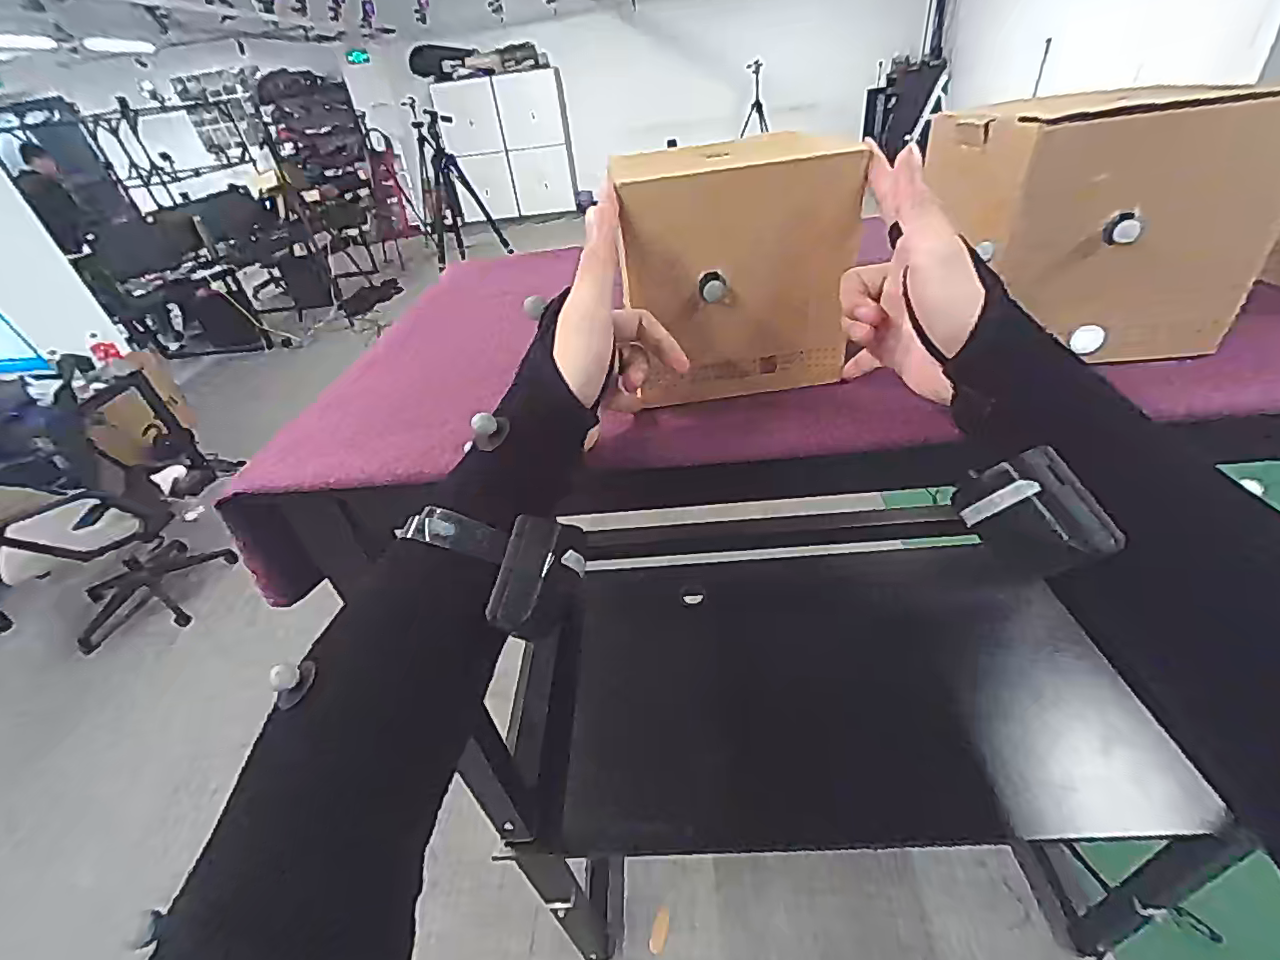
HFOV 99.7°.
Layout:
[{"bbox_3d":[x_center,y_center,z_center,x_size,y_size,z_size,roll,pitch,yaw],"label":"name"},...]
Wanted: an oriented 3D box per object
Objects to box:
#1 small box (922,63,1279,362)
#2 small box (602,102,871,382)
[{"bbox_3d":[0.334,-0.198,0.408,0.179,0.176,0.168,-2,37,7],"label":"small box"},{"bbox_3d":[0.063,-0.187,0.434,0.168,0.176,0.179,-6,36,1],"label":"small box"}]
